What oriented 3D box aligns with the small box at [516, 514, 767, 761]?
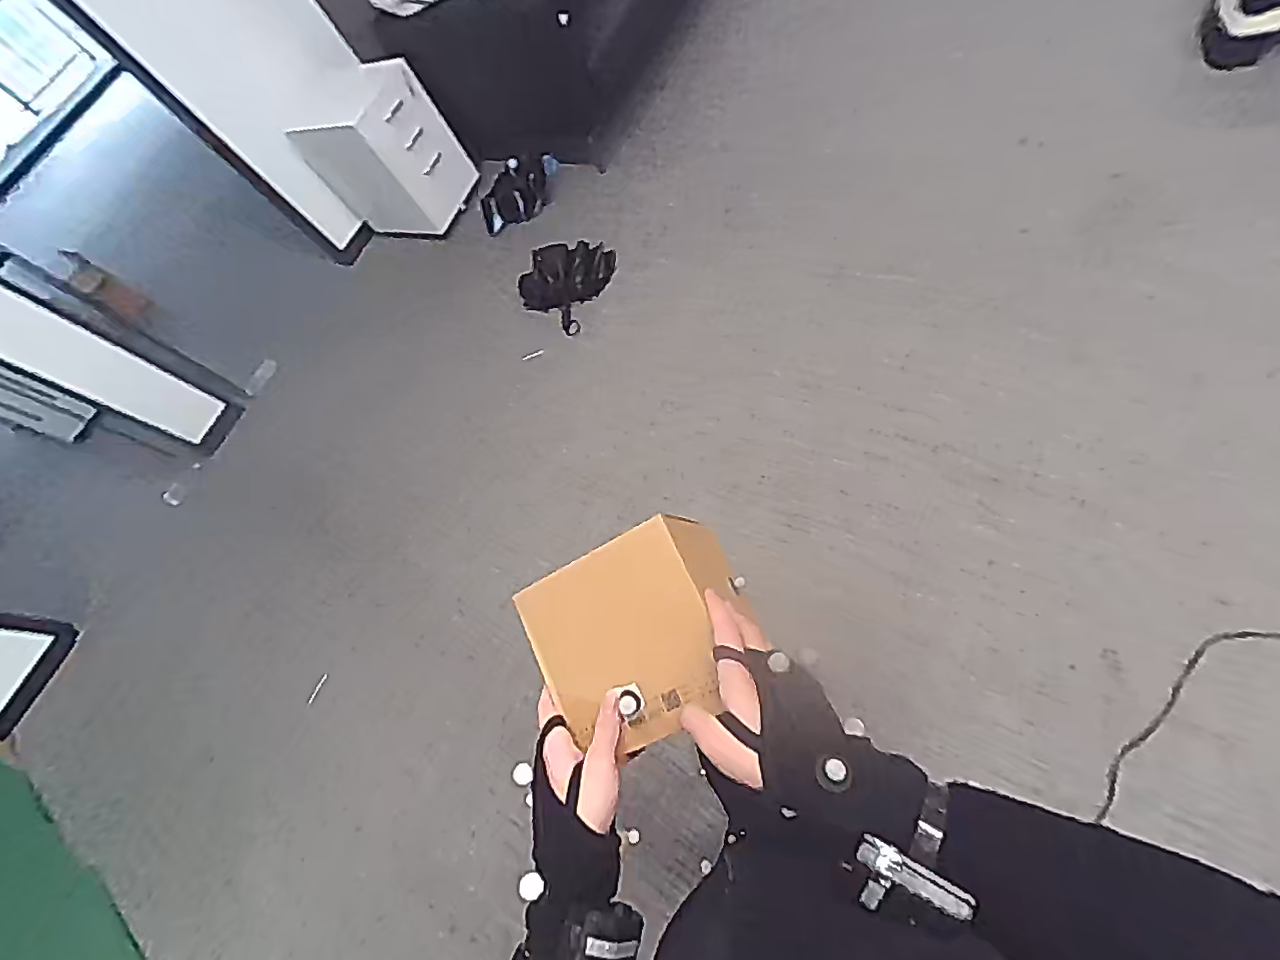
[{"bbox_3d":[0.011,0.151,0.543,0.168,0.179,0.176,-31,73,13],"label":"small box"}]
